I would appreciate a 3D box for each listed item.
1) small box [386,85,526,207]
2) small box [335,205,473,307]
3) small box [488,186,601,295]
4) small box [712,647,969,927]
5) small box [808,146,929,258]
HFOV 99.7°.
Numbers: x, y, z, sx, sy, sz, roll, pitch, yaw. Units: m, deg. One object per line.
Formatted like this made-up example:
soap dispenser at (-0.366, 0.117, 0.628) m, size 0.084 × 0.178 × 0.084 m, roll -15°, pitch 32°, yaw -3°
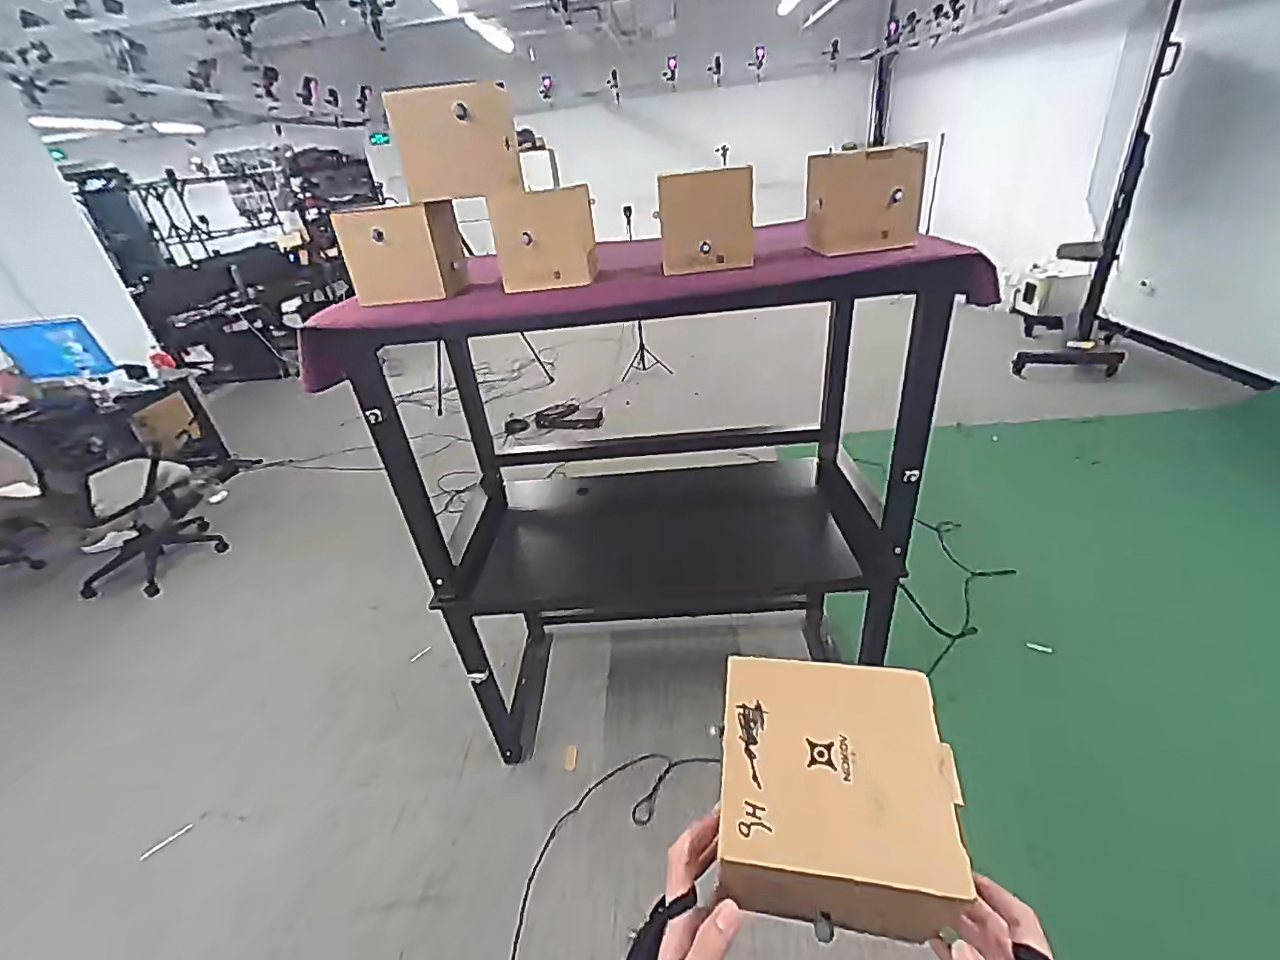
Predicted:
small box at (-0.319, -0.601, 0.985) m, size 0.179 × 0.176 × 0.168 m, roll -3°, pitch 29°, yaw 5°
small box at (-0.454, -0.446, 1.072) m, size 0.179 × 0.176 × 0.168 m, roll -3°, pitch 30°, yaw 4°
small box at (-0.173, -0.462, 1.048) m, size 0.168 × 0.176 × 0.179 m, roll -5°, pitch 29°, yaw 5°
small box at (0.160, 0.276, 0.490) m, size 0.179 × 0.176 × 0.168 m, roll 2°, pitch 42°, yaw 12°
small box at (0.421, -0.522, 1.025) m, size 0.168 × 0.176 × 0.179 m, roll -4°, pitch 29°, yaw 5°
